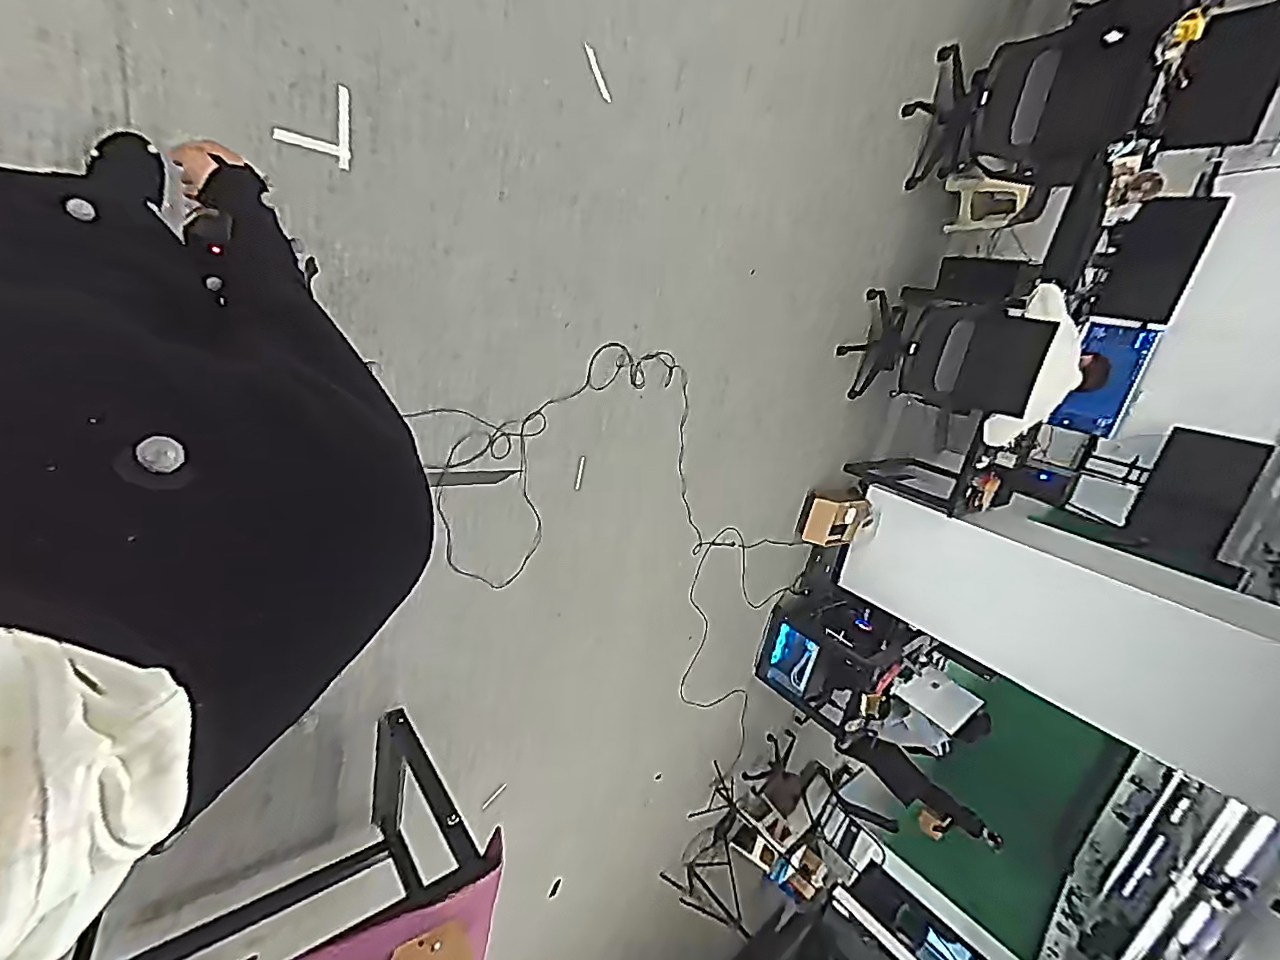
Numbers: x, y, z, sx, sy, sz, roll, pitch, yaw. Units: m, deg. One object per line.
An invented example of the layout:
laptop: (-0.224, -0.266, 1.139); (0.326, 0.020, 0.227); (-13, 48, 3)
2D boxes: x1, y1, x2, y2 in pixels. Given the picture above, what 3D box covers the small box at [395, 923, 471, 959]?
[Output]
small box: (-0.528, 1.292, 1.368); (0.168, 0.176, 0.179); (8, 104, -45)
